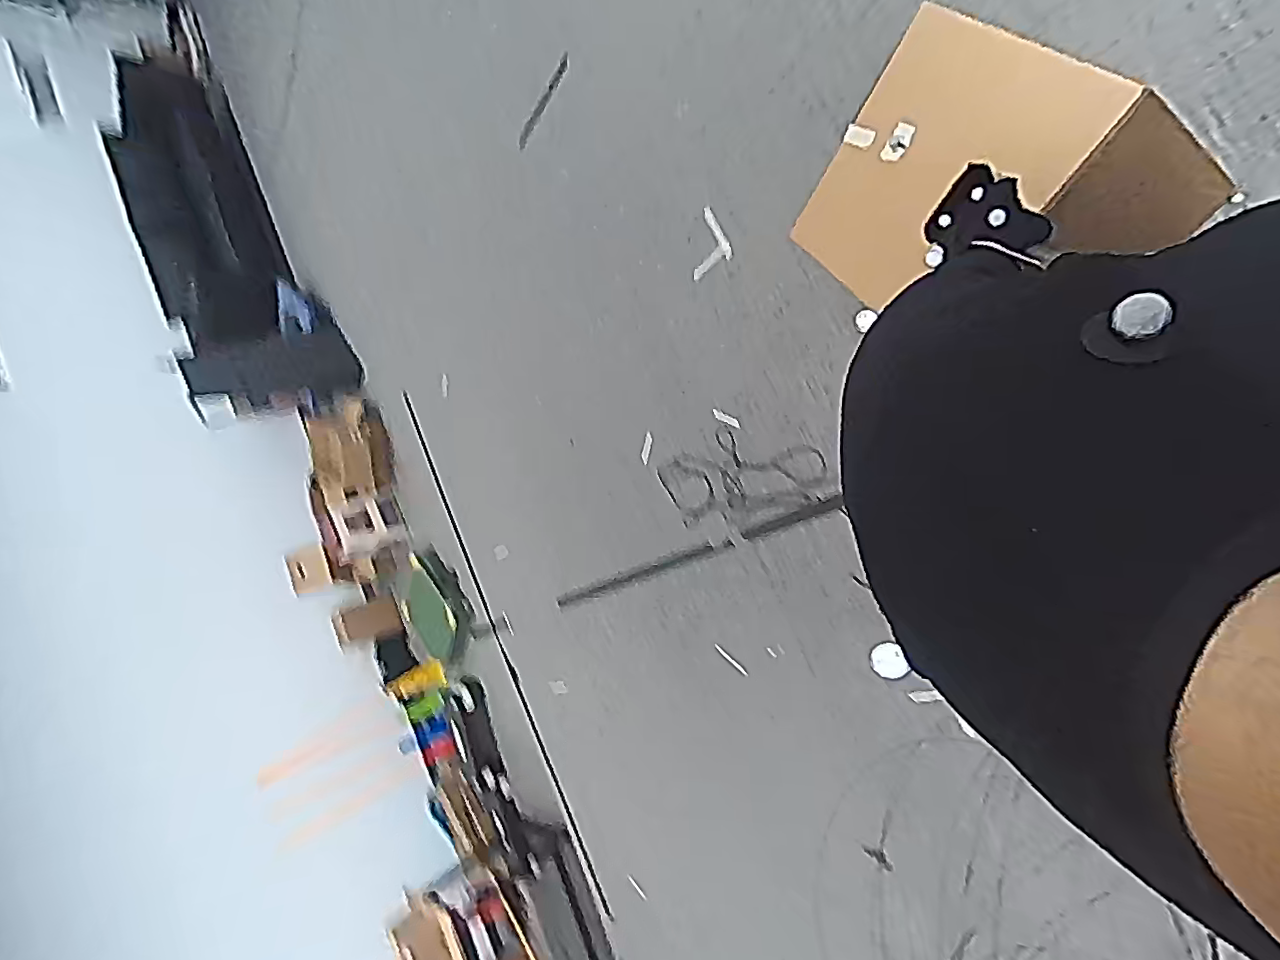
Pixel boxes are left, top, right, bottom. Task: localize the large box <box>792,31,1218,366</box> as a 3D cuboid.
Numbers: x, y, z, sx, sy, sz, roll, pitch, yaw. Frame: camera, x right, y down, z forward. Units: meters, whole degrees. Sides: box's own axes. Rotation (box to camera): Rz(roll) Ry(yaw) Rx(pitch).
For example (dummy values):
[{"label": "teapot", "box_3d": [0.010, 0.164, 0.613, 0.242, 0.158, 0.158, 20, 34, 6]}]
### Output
[{"label": "large box", "box_3d": [0.522, -0.394, 0.820, 0.320, 0.408, 0.320, 61, 140, 32]}]
